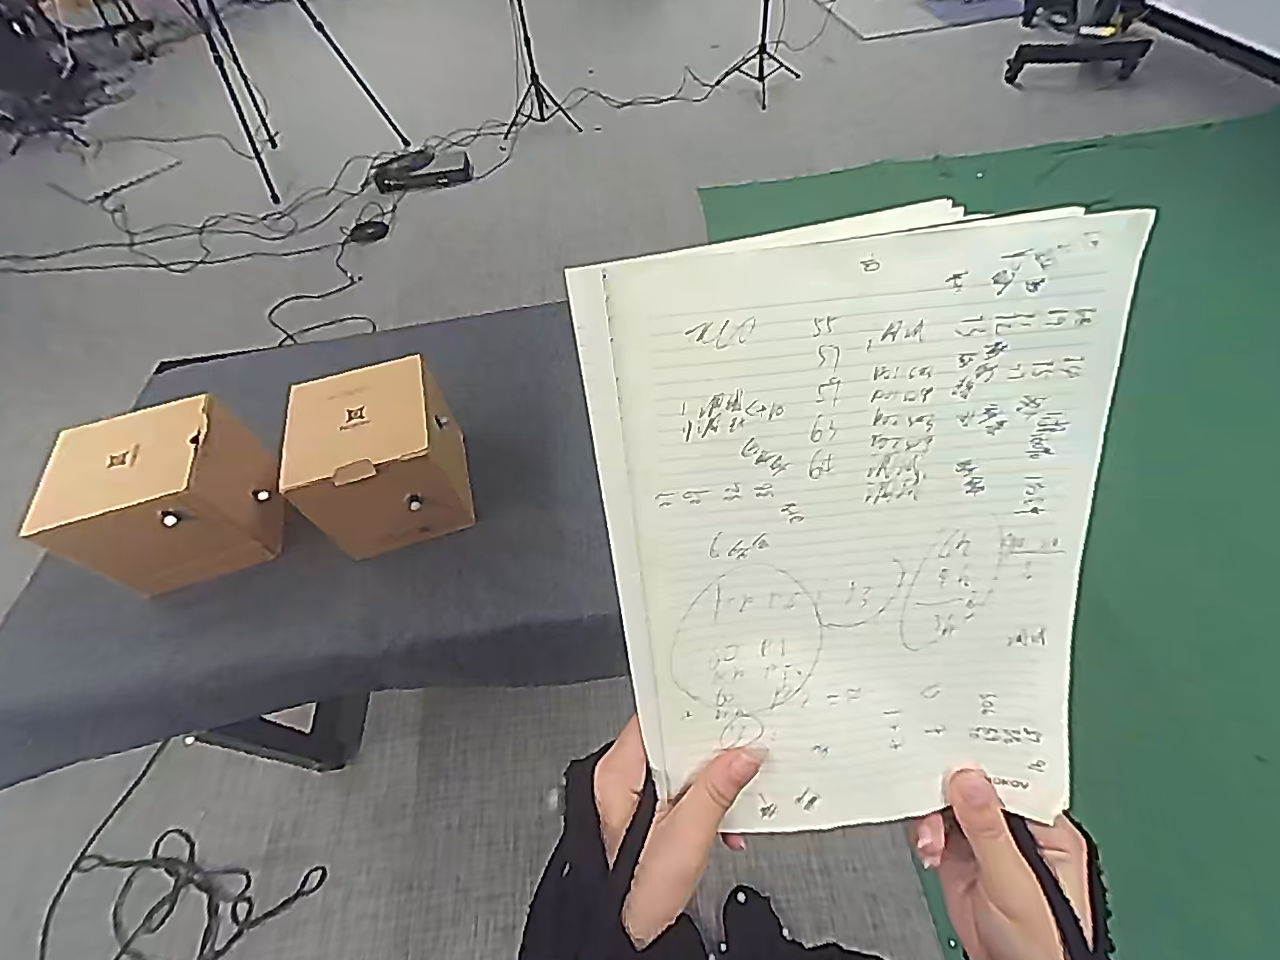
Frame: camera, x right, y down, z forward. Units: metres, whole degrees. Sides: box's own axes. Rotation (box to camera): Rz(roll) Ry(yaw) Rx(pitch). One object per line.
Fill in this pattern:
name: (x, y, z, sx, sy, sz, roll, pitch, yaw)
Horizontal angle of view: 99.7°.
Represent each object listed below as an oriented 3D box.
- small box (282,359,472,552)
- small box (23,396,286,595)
small box: (-0.331, -0.024, 0.710, 0.168, 0.176, 0.179, -16, 53, -7)
small box: (-0.599, 0.025, 0.700, 0.179, 0.176, 0.168, -17, 53, -9)
